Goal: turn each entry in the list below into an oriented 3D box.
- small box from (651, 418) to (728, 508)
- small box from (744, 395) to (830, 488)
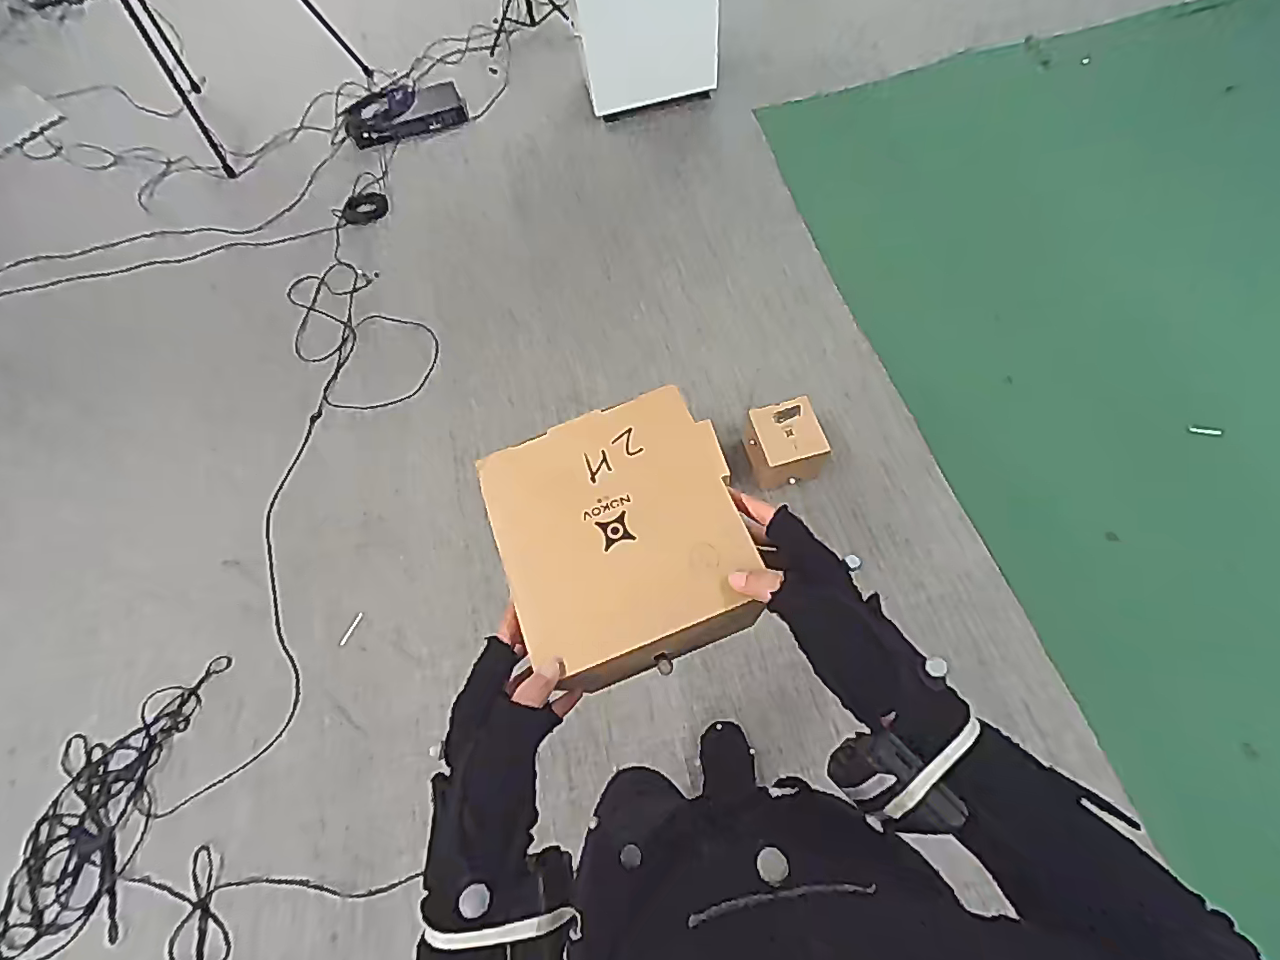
[{"bbox_3d":[0.135,-0.038,1.472,0.168,0.176,0.179,-16,65,-2],"label":"small box"},{"bbox_3d":[0.390,-0.101,1.474,0.168,0.176,0.179,-15,66,-1],"label":"small box"}]
